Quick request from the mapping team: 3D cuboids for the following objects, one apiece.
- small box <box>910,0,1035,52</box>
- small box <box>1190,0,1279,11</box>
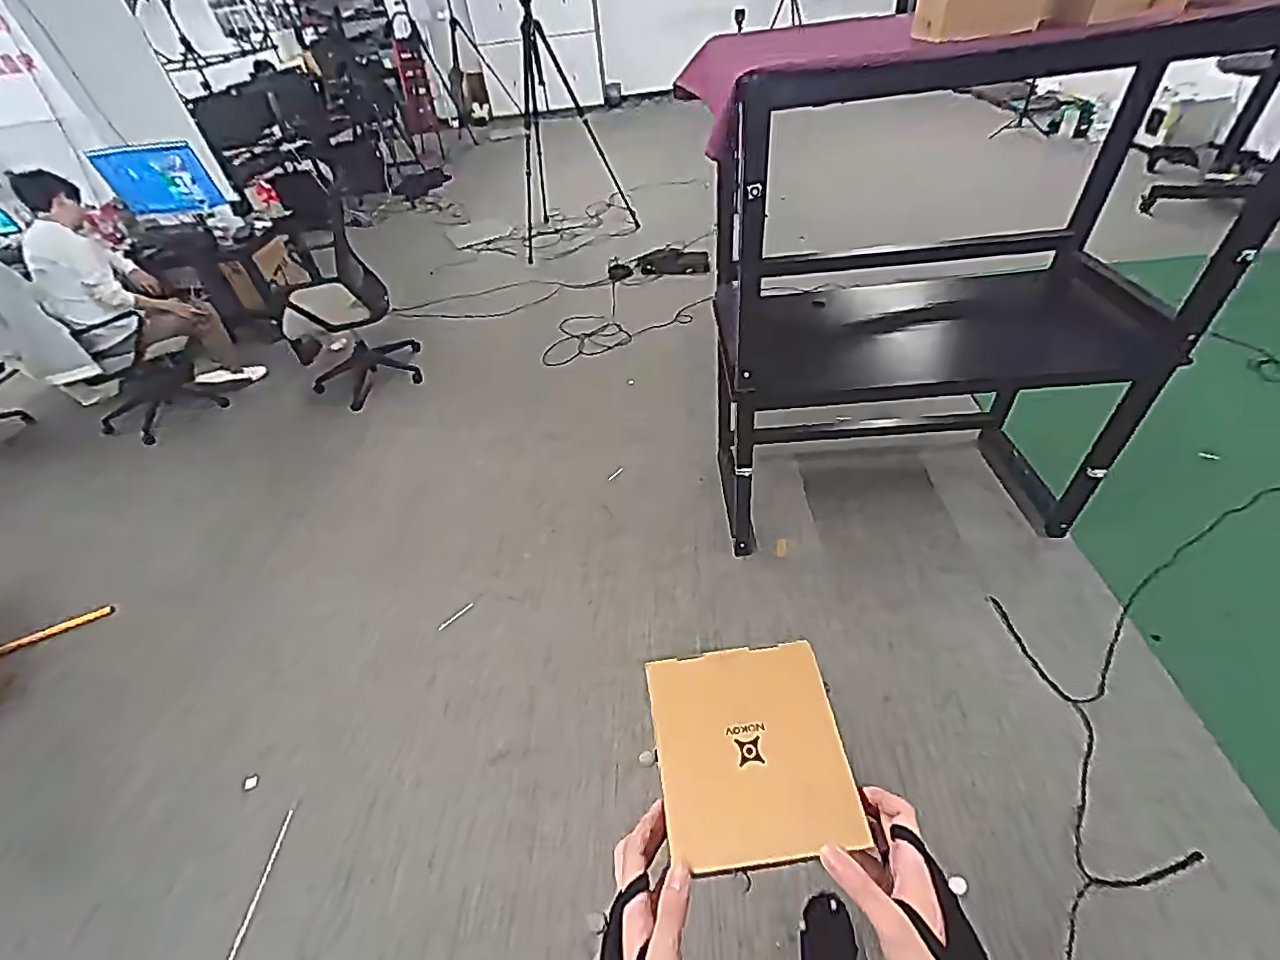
[{"bbox_3d":[0.621,-0.916,1.005,0.179,0.176,0.168,-2,43,7],"label":"small box"},{"bbox_3d":[1.144,-0.961,0.962,0.179,0.176,0.168,-2,44,8],"label":"small box"}]
